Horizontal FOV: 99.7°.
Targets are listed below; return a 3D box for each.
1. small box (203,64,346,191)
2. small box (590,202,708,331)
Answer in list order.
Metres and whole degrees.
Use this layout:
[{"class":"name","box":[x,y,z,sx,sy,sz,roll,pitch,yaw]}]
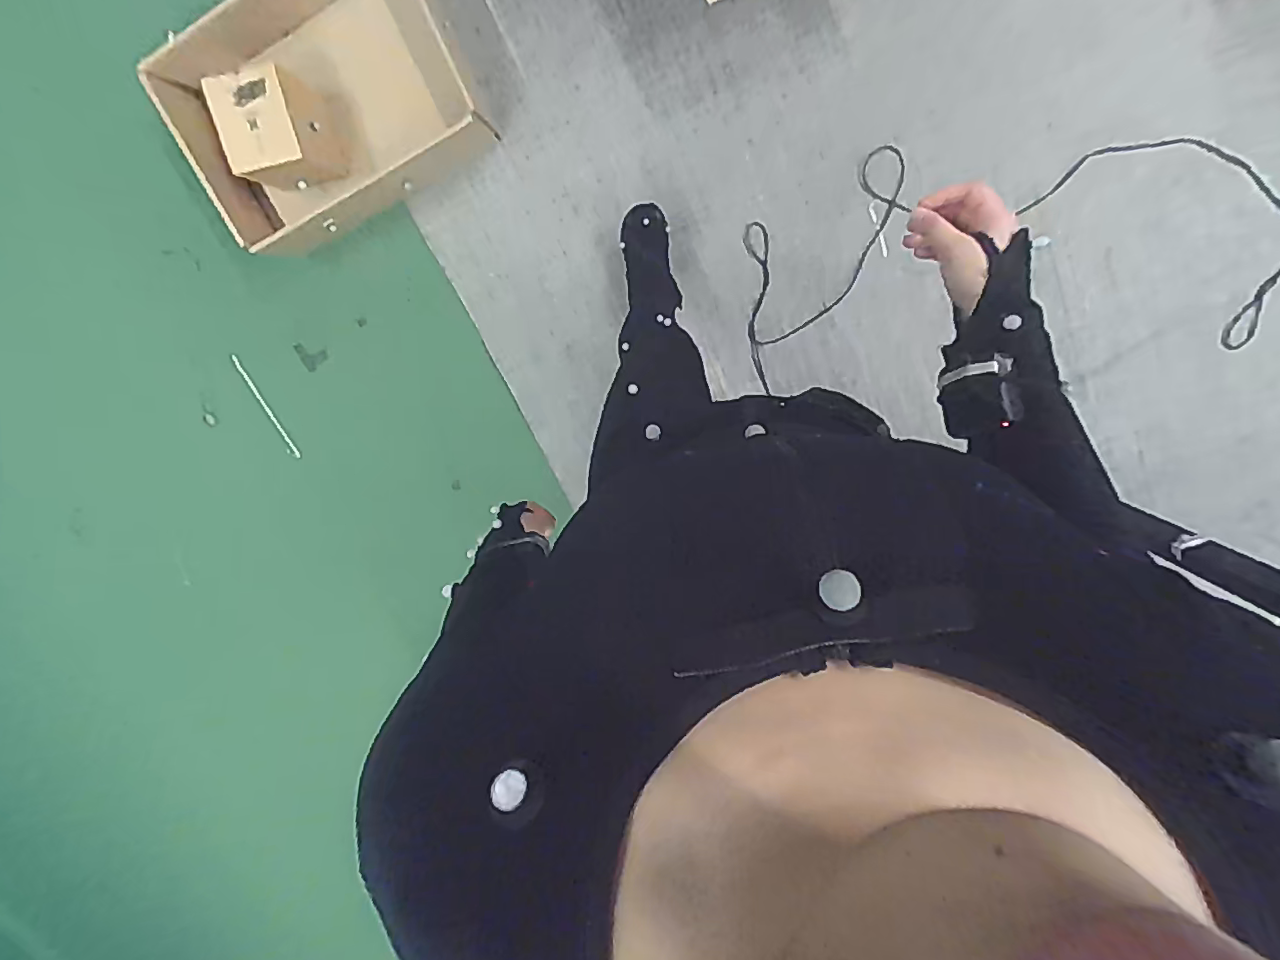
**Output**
[{"class":"small box","box":[-0.784,-0.757,1.179,0.168,0.176,0.179,-9,106,6]},{"class":"small box","box":[0.028,-0.468,1.201,0.179,0.176,0.168,-50,54,9]}]
